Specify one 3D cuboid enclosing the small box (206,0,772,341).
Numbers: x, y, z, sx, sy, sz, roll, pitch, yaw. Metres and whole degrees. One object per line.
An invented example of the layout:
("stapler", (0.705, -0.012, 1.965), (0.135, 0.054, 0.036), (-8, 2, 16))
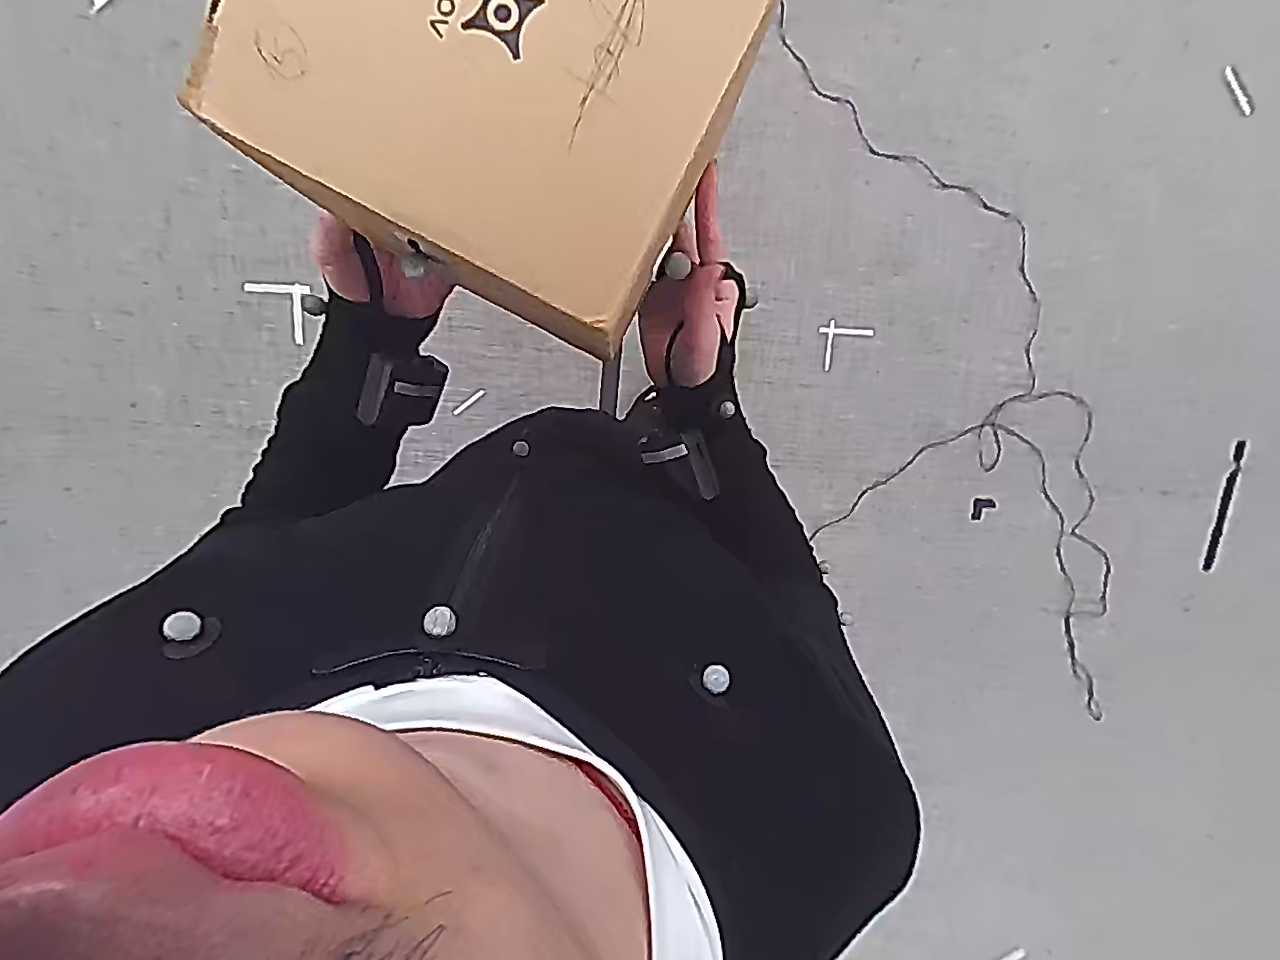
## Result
("small box", (-0.057, -0.187, 0.284), (0.179, 0.176, 0.168), (26, 96, -7))
